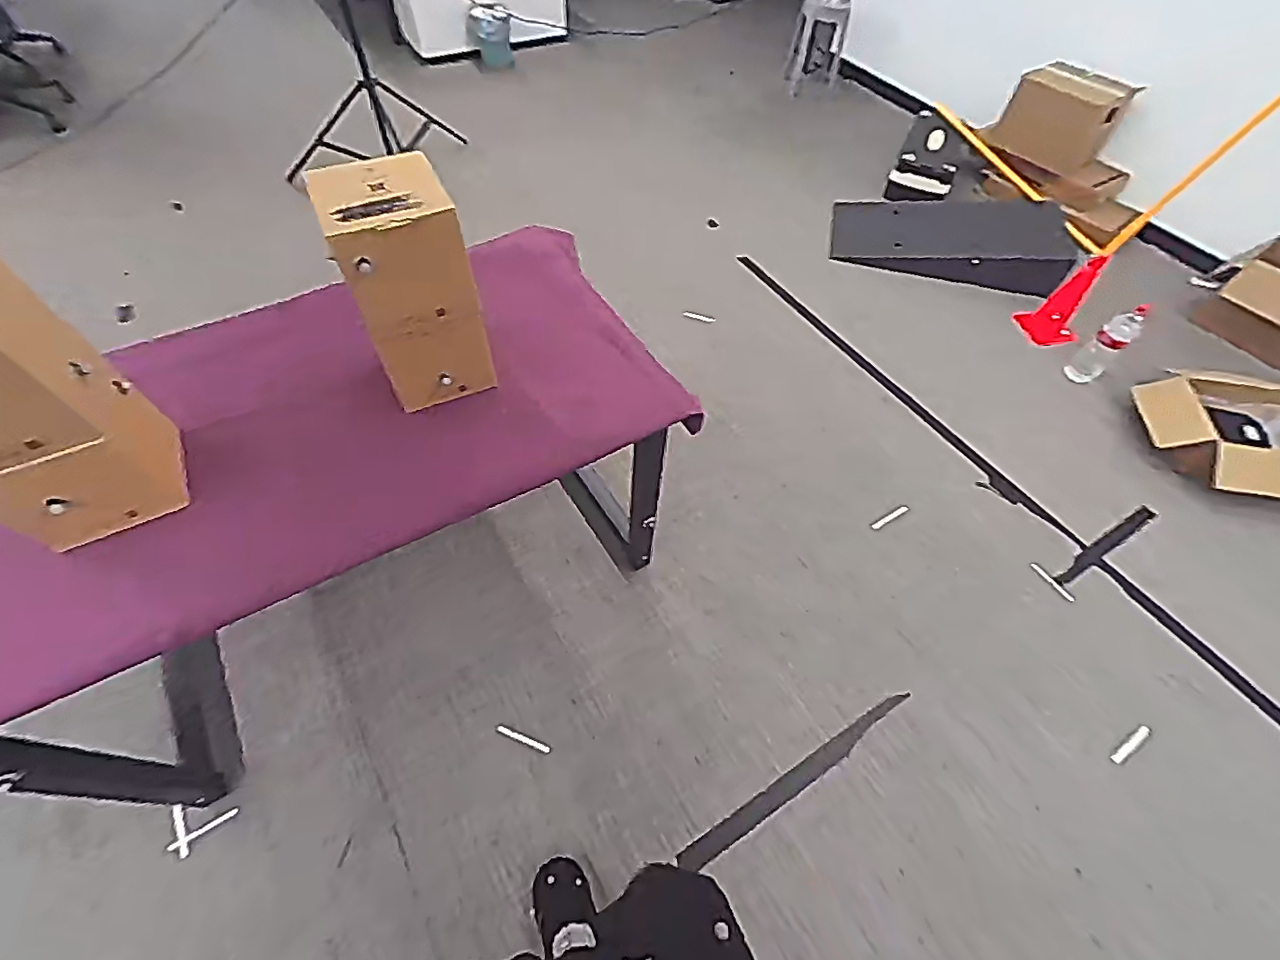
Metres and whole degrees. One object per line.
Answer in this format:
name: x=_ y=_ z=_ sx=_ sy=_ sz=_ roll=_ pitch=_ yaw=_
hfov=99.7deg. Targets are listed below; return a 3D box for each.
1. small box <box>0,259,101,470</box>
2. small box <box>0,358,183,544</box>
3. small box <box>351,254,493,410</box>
small box: x=-0.783 y=-0.128 z=0.626 sx=0.168 sy=0.176 sz=0.179 roll=-26 pitch=60 yaw=-19
small box: x=-0.788 y=-0.032 z=0.758 sx=0.168 sy=0.176 sz=0.179 roll=-25 pitch=61 yaw=-19
small box: x=-0.369 y=-0.252 z=0.931 sx=0.168 sy=0.176 sz=0.179 roll=-21 pitch=60 yaw=-16
